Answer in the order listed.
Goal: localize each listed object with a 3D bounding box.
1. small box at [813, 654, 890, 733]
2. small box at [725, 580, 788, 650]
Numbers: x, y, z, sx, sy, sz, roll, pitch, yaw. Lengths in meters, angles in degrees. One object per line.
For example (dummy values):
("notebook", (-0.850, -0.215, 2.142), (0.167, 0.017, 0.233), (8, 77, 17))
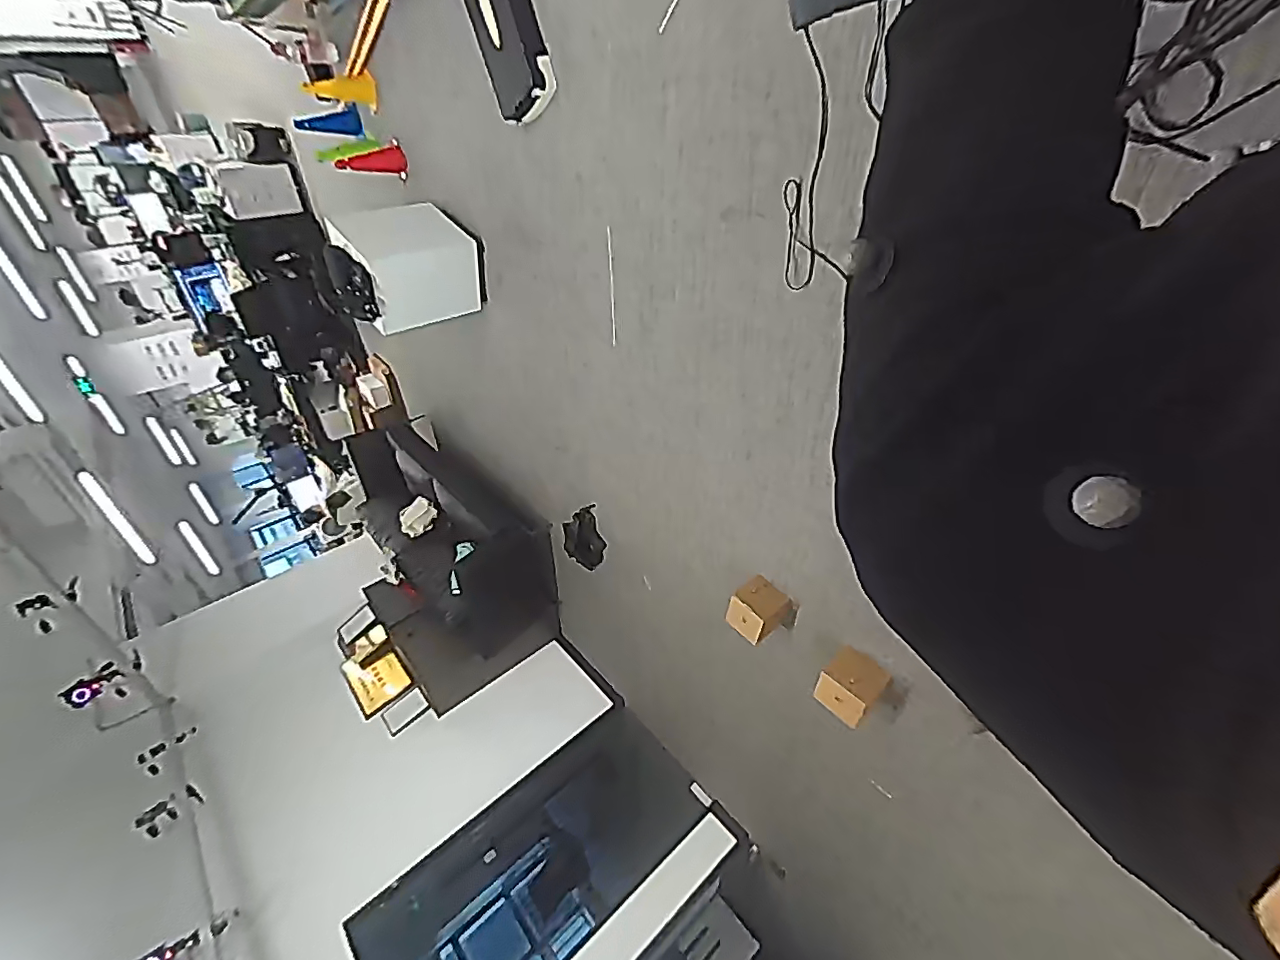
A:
("small box", (0.755, 0.751, 1.931), (0.179, 0.176, 0.168), (34, 138, 36))
("small box", (0.471, 0.537, 2.174), (0.168, 0.176, 0.179), (39, 142, 34))
